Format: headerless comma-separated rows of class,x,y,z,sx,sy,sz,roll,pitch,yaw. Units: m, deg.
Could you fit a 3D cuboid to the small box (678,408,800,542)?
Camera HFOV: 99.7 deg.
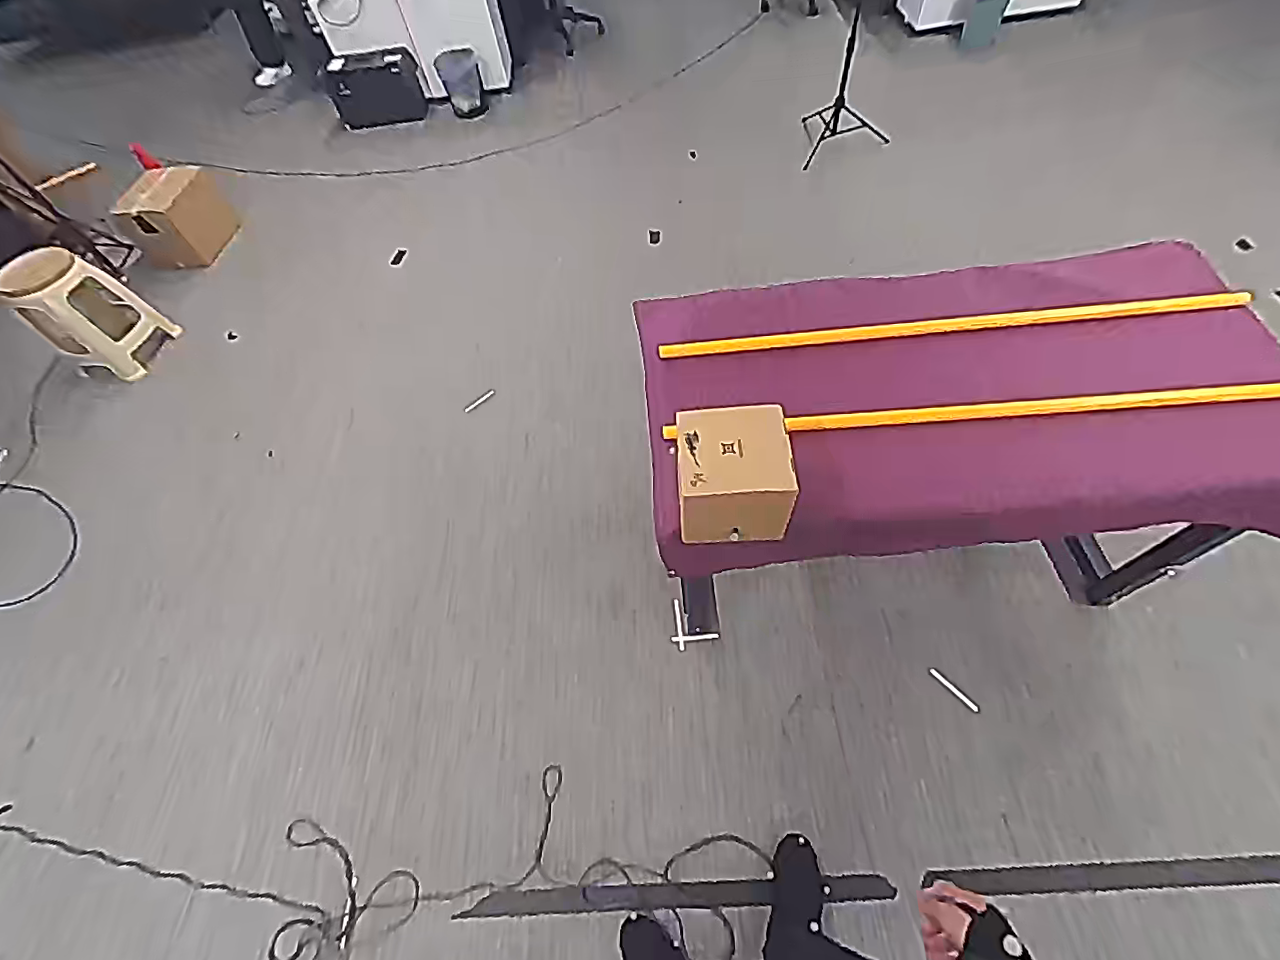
small box,0.154,-0.004,0.910,0.179,0.176,0.168,-3,58,3
